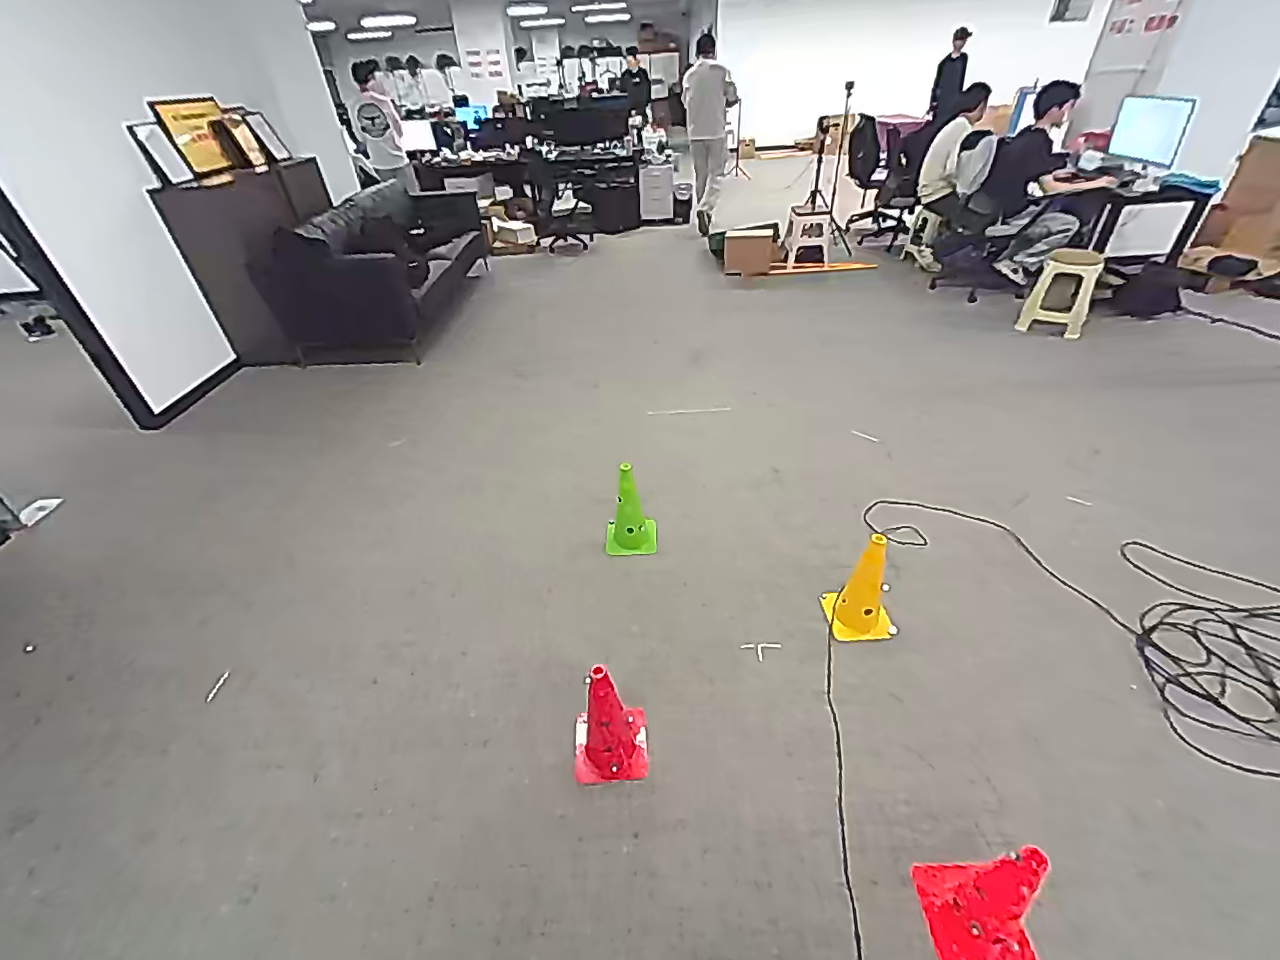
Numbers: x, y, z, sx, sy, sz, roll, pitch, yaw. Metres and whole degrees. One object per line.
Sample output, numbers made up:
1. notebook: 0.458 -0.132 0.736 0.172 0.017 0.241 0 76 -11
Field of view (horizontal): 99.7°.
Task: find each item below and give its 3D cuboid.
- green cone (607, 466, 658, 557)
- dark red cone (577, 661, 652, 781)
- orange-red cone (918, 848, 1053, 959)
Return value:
1. green cone: -0.037 0.104 2.084 0.202 0.368 0.200 -2 37 1
2. dark red cone: -0.083 0.594 1.394 0.202 0.394 0.201 -5 38 -2
3. orange-red cone: 0.717 0.812 1.062 0.198 0.360 0.199 -1 36 3
